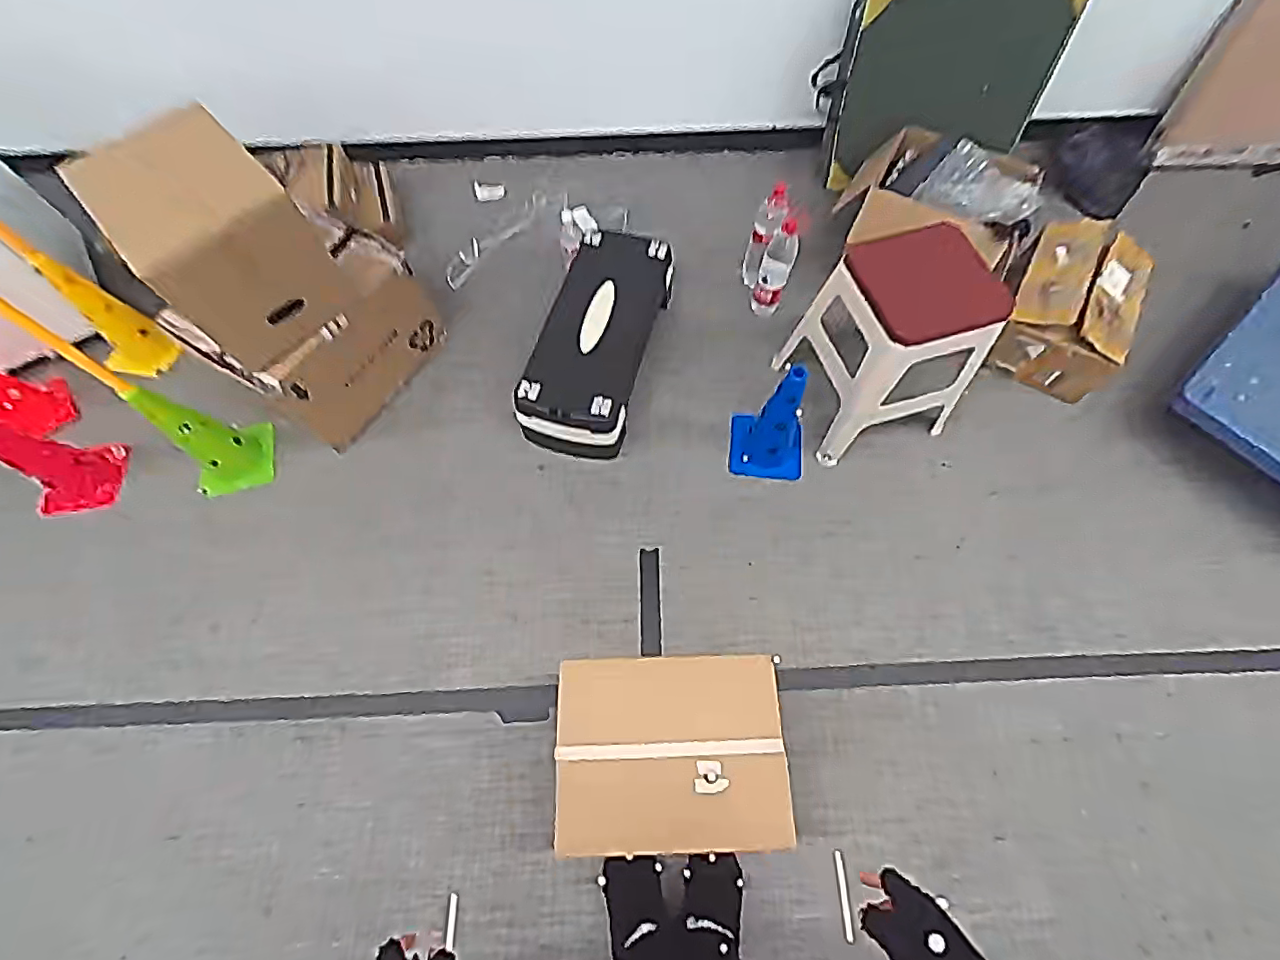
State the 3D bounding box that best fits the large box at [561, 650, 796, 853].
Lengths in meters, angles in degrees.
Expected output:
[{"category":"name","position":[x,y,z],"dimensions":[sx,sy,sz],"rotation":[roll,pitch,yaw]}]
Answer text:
[{"category":"large box","position":[0.056,0.534,1.099],"dimensions":[0.408,0.320,0.320],"rotation":[-1,66,-2]}]
